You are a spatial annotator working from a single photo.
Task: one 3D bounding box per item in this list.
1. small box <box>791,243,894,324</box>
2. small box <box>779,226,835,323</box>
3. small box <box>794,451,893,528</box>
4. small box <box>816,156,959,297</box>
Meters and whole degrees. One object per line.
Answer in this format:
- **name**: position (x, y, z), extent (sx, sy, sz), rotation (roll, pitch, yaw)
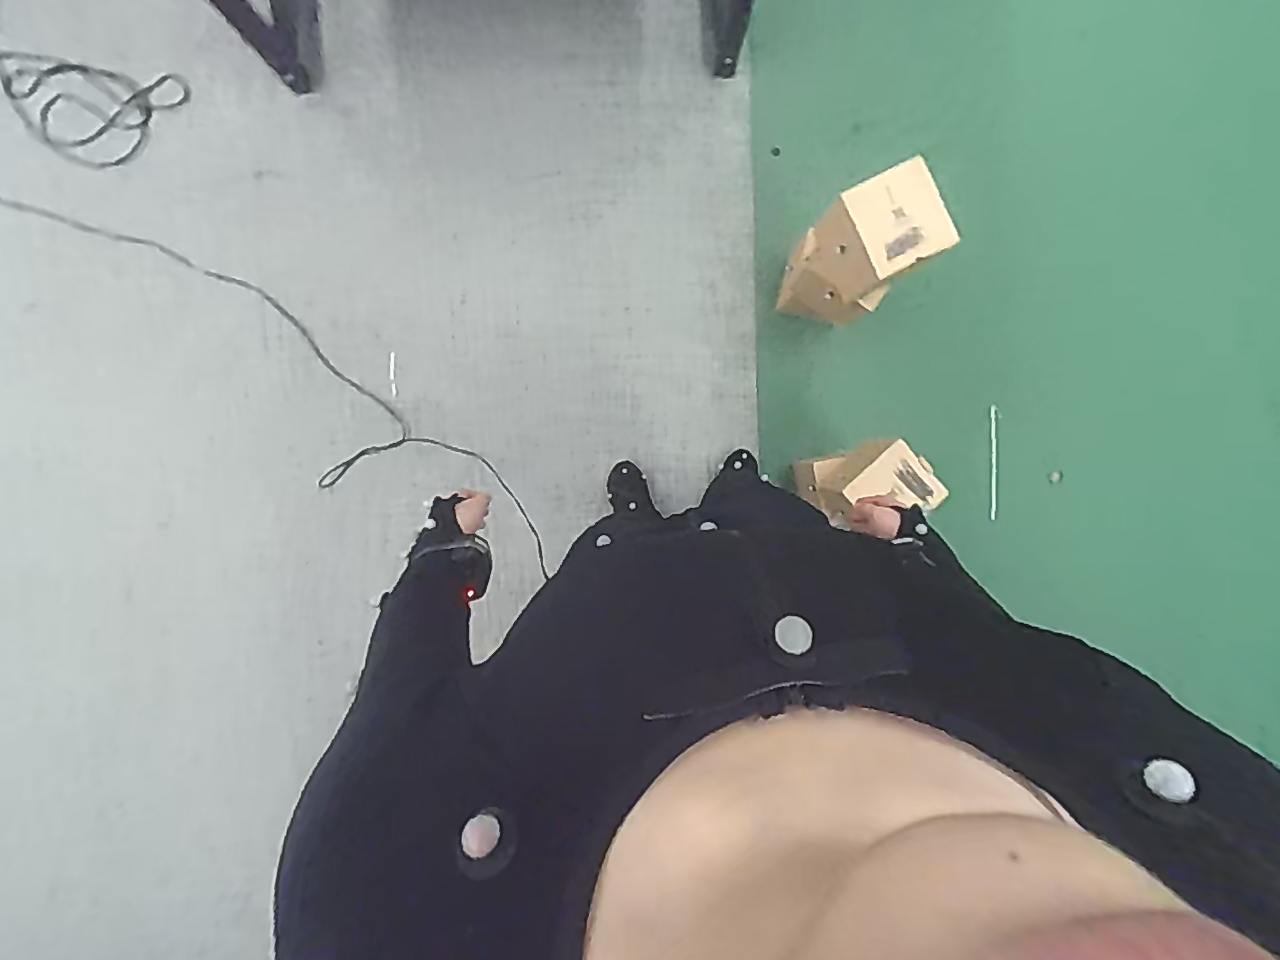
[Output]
- **small box**: position (0.472, -0.477, 1.223), extent (0.179, 0.176, 0.168), rotation (35, 93, -3)
- **small box**: position (0.475, -0.516, 1.384), extent (0.179, 0.176, 0.168), rotation (14, 93, -2)
- **small box**: position (0.523, 0.018, 1.407), extent (0.179, 0.176, 0.168), rotation (-11, 93, -1)
- **small box**: position (0.474, -0.478, 1.059), extent (0.168, 0.176, 0.179), rotation (-25, 92, 1)
